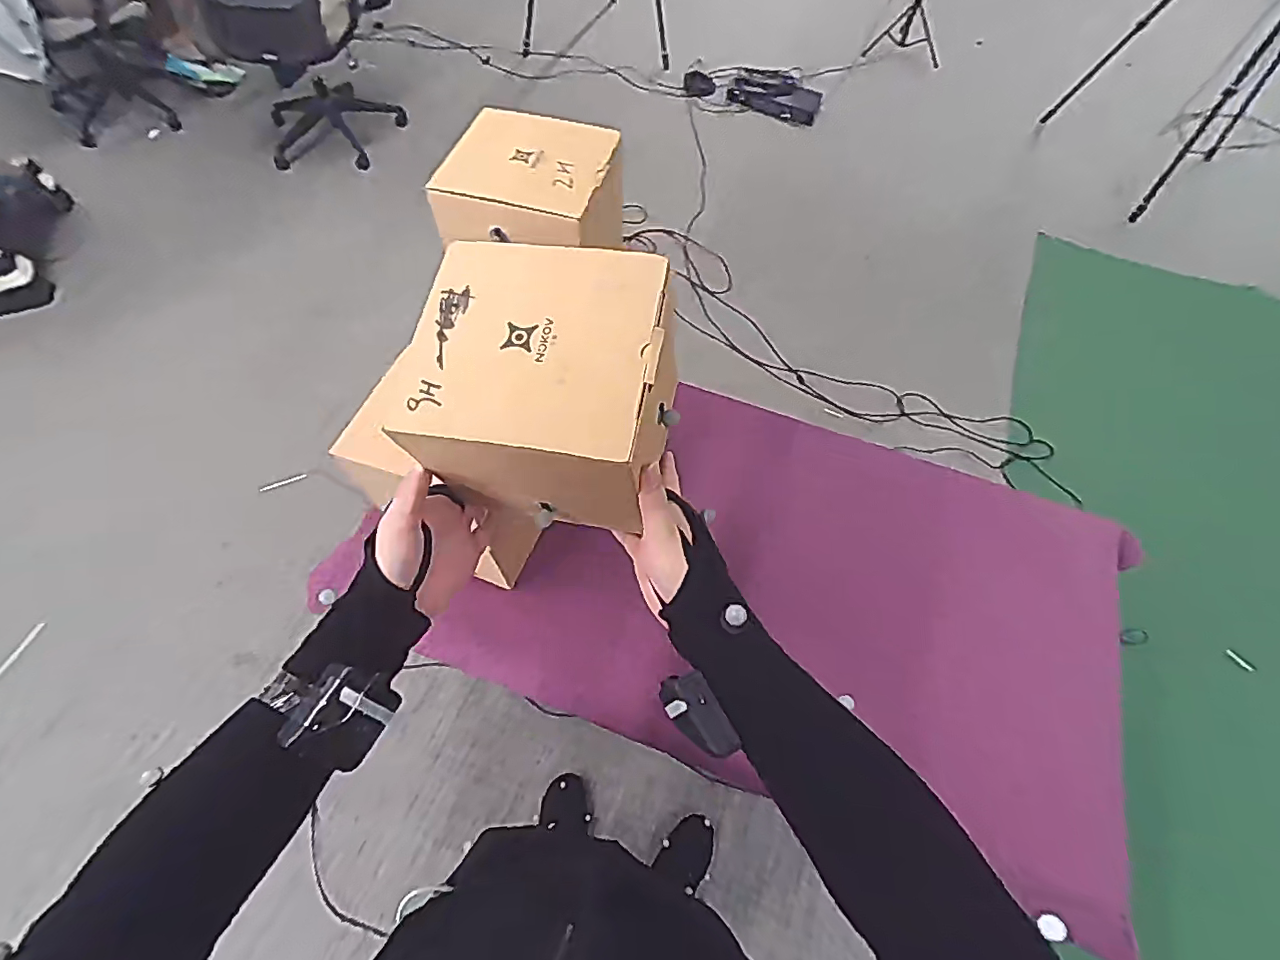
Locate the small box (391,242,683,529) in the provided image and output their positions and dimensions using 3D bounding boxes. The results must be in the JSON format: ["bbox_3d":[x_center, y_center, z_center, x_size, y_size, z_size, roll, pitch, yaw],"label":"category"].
[{"bbox_3d":[-0.063,-0.066,0.454,0.179,0.176,0.168,9,69,8],"label":"small box"}]

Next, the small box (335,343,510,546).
[{"bbox_3d":[-0.246,-0.041,0.707,0.168,0.176,0.179,17,62,7],"label":"small box"}]

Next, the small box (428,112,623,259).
[{"bbox_3d":[-0.126,-0.317,0.676,0.179,0.176,0.168,14,62,5],"label":"small box"}]
